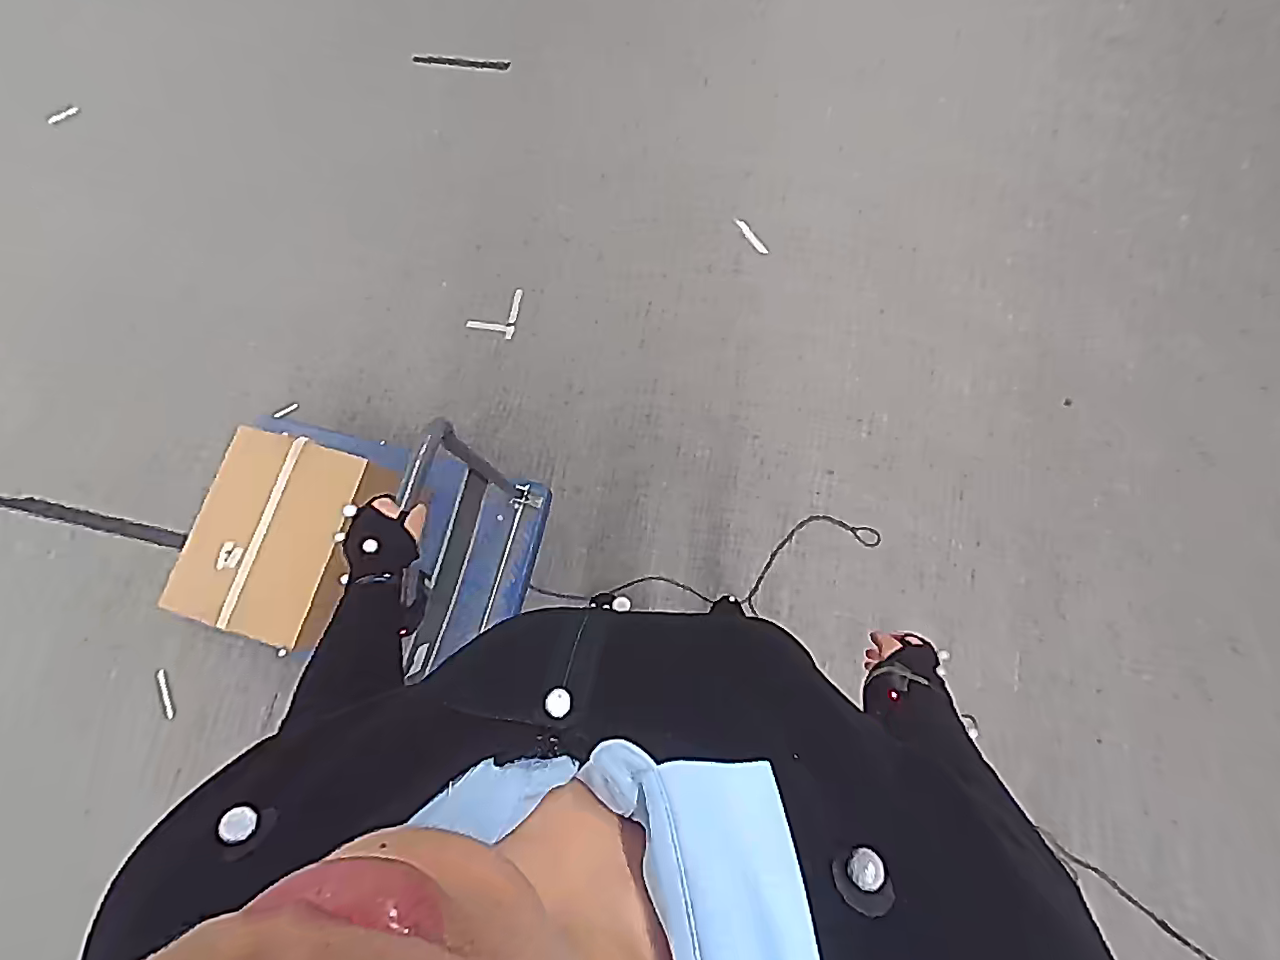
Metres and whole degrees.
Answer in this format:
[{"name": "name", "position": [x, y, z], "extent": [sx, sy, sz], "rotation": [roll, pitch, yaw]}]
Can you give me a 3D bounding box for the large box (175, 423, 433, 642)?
[{"name": "large box", "position": [-0.747, 0.127, 1.269], "extent": [0.320, 0.320, 0.408], "rotation": [15, 80, 8]}]
